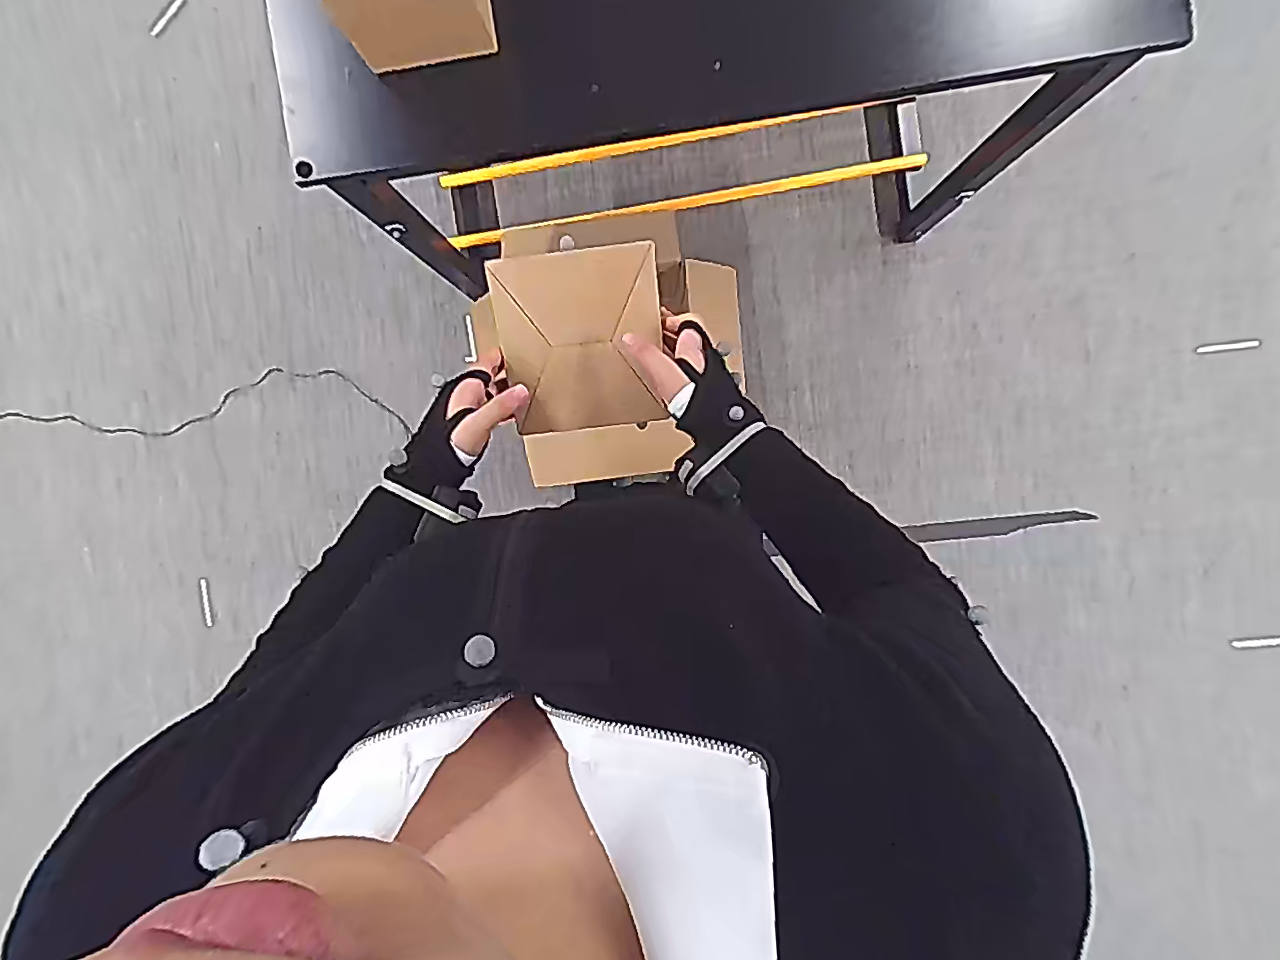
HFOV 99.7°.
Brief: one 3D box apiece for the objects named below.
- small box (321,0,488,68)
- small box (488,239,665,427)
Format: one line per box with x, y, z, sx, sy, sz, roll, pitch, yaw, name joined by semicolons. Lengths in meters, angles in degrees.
-0.293;-0.645;0.650;0.179;0.176;0.168;-8;93;2;small box
-0.061;-0.168;0.617;0.168;0.176;0.179;-6;111;2;small box
